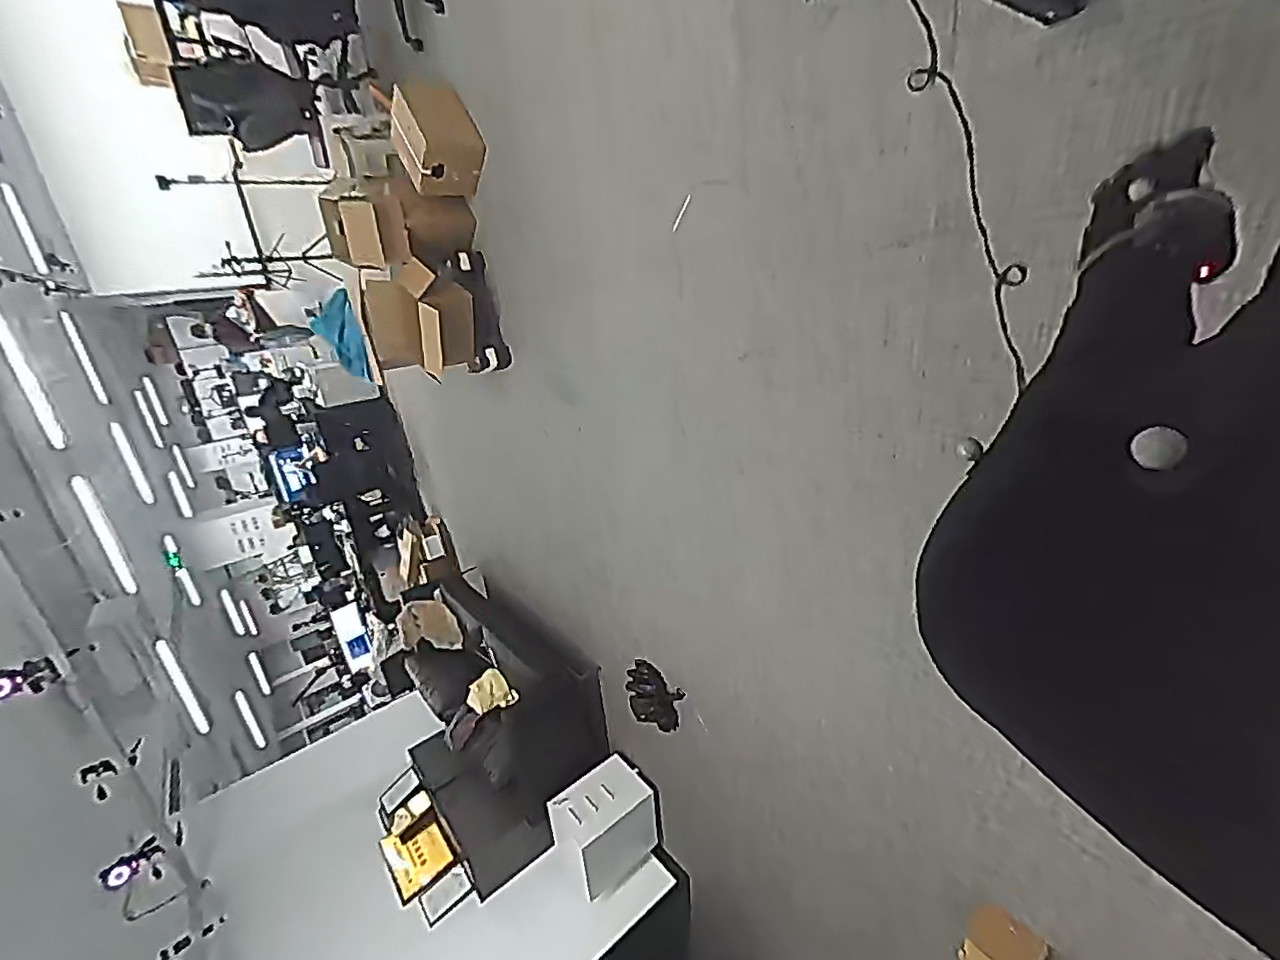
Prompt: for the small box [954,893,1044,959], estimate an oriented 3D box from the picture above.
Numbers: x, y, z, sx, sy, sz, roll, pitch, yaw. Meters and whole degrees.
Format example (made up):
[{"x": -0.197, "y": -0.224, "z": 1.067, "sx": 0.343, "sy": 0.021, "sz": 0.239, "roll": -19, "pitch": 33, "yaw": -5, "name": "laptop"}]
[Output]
[{"x": 1.138, "y": 1.467, "z": 1.718, "sx": 0.179, "sy": 0.176, "sz": 0.168, "roll": 24, "pitch": 126, "yaw": 47, "name": "small box"}]
